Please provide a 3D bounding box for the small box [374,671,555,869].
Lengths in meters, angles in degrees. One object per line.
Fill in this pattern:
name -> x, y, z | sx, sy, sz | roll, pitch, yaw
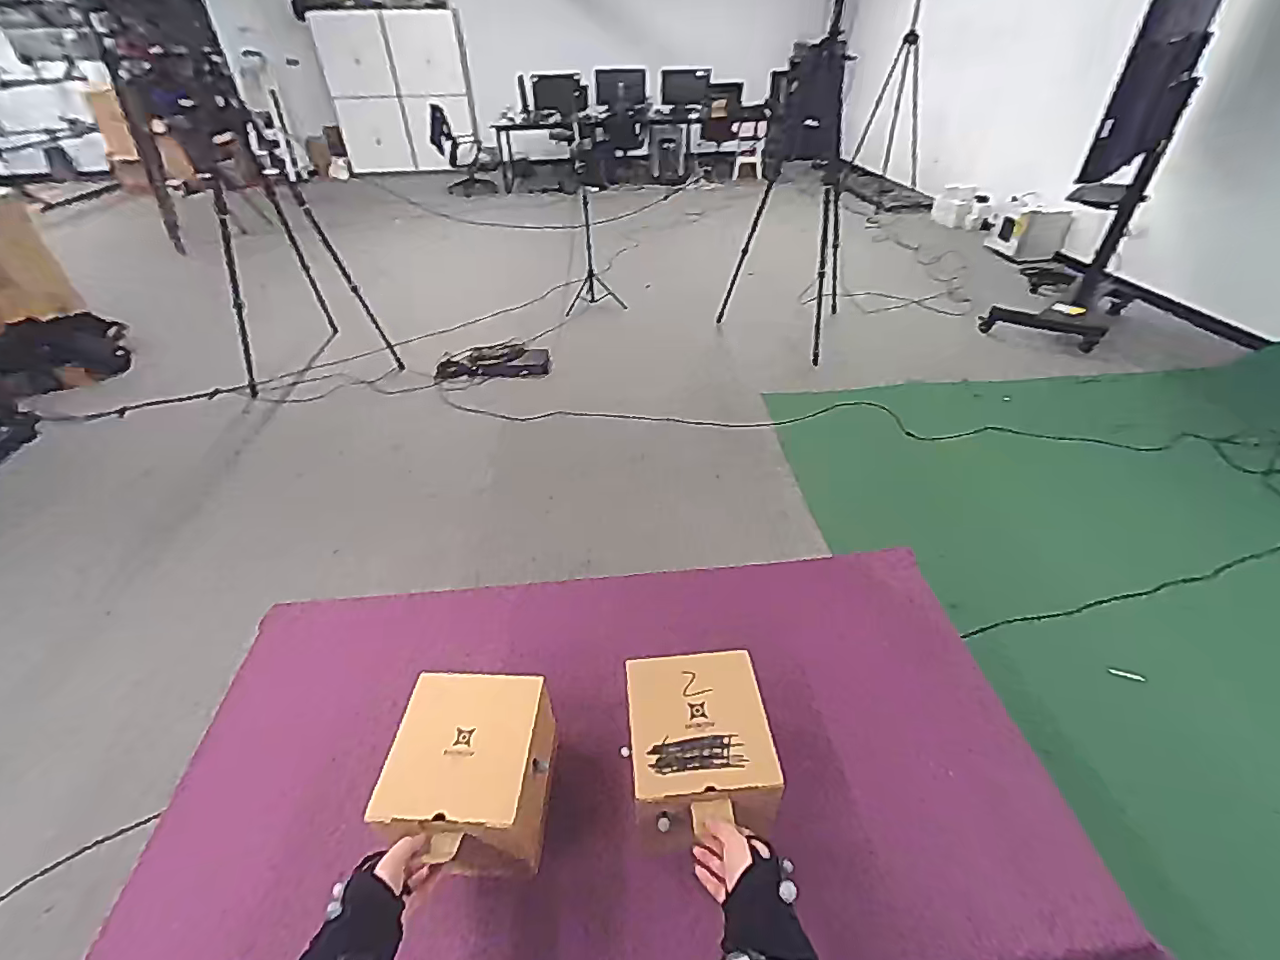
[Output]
small box -> -0.210, 0.375, 0.707 | 0.168, 0.176, 0.179 | 1, 40, 3
